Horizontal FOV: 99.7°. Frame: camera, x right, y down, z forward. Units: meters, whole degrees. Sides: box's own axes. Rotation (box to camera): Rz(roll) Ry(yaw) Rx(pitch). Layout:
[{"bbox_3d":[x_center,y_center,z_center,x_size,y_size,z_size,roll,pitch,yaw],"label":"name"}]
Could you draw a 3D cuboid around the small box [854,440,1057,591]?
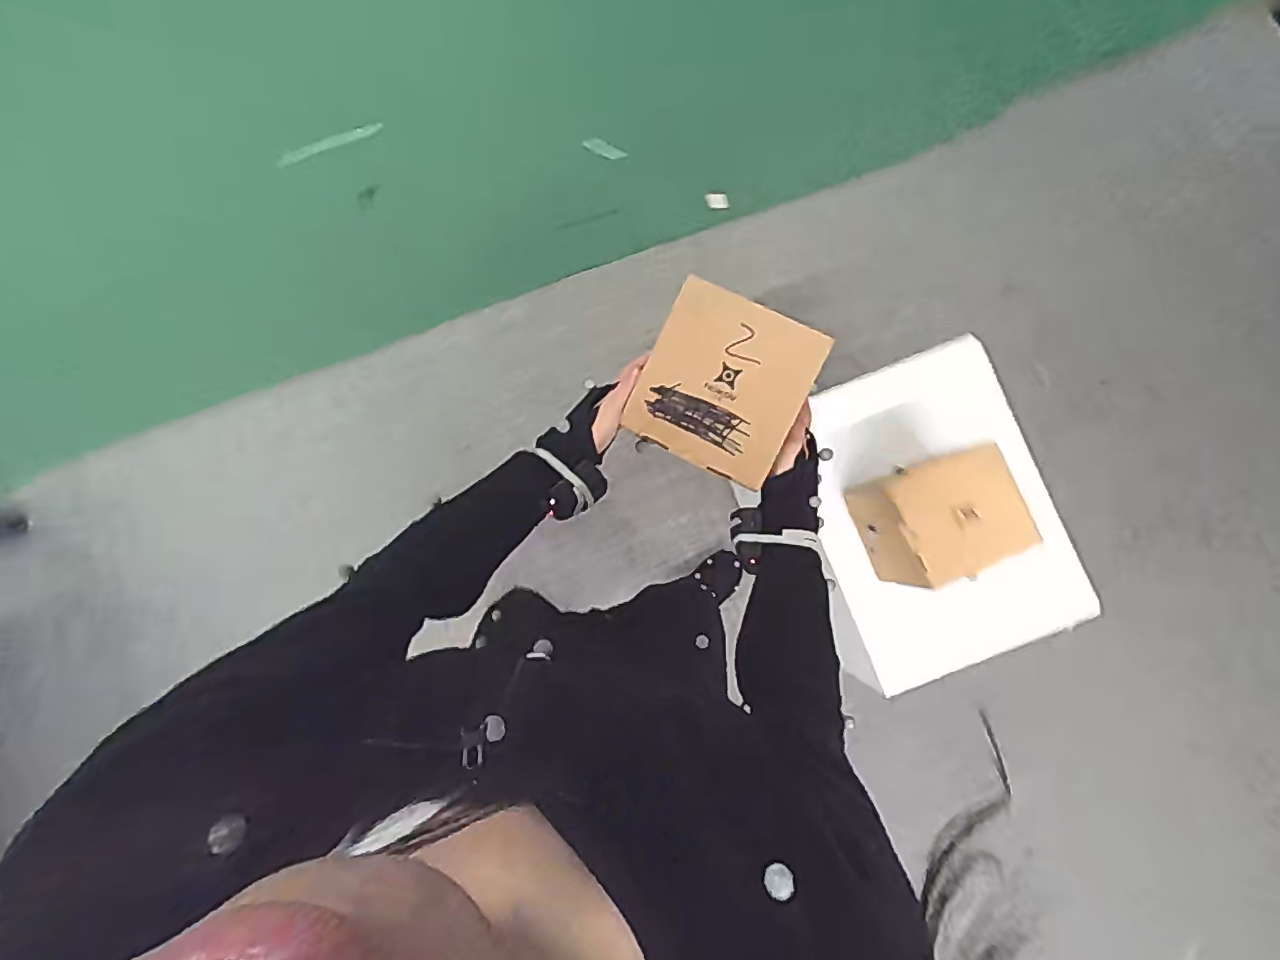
[{"bbox_3d":[0.464,0.053,0.822,0.179,0.176,0.168,-22,85,-2],"label":"small box"}]
